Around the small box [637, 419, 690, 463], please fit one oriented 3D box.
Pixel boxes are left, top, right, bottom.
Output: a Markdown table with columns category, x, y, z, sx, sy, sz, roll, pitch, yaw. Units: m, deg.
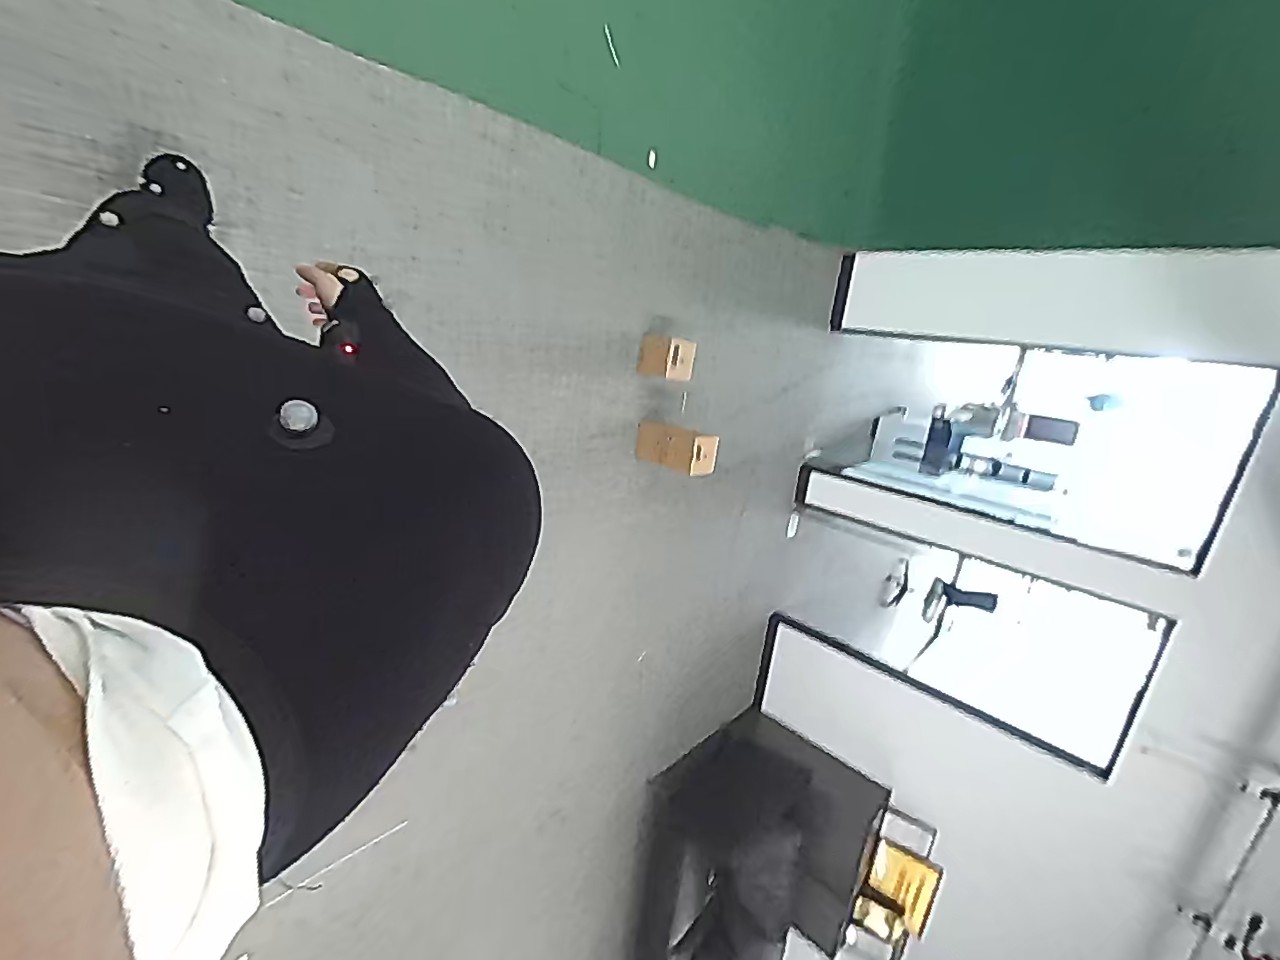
| category | x | y | z | sx | sy | sz | roll | pitch | yaw |
| --- | --- | --- | --- | --- | --- | --- | --- | --- | --- |
| small box | 0.106 | -0.184 | 2.478 | 0.168 | 0.176 | 0.179 | -8 | 112 | -46 |

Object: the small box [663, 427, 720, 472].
| category | x | y | z | sx | sy | sz | roll | pitch | yaw |
| --- | --- | --- | --- | --- | --- | --- | --- | --- | --- |
| small box | 0.221 | -0.137 | 2.370 | 0.179 | 0.176 | 0.168 | -7 | 110 | -48 |
